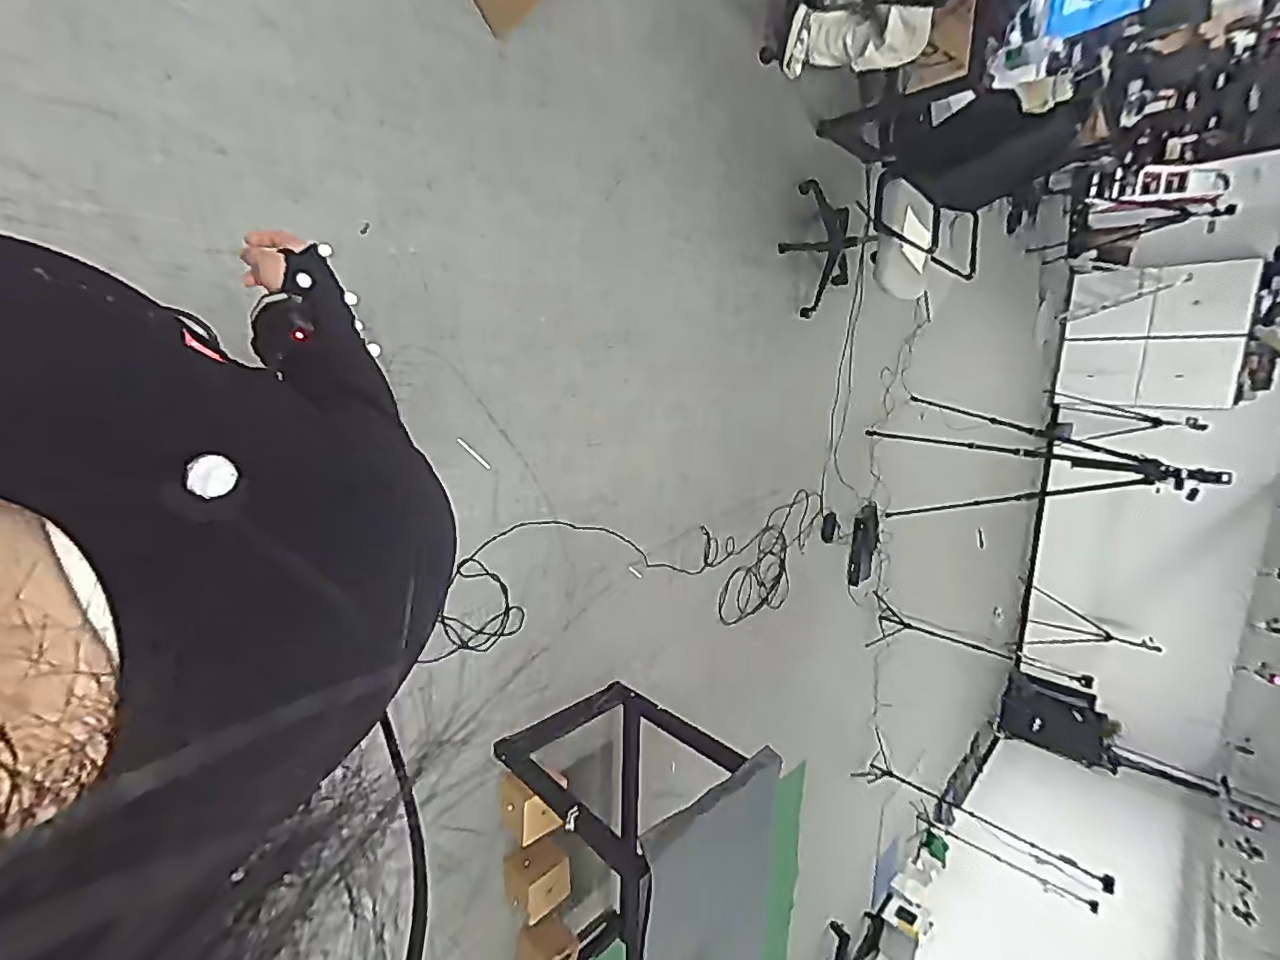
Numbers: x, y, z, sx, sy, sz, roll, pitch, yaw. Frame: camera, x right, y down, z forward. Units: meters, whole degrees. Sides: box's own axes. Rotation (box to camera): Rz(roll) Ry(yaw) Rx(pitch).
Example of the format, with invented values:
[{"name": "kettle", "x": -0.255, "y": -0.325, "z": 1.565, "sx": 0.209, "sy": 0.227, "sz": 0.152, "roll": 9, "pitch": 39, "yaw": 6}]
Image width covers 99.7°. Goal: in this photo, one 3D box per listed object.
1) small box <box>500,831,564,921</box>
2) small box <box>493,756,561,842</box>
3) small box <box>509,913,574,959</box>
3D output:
[{"name": "small box", "x": -0.397, "y": 1.427, "z": 1.965, "sx": 0.179, "sy": 0.176, "sz": 0.168, "roll": -13, "pitch": 107, "yaw": -44}, {"name": "small box", "x": -0.401, "y": 1.115, "z": 1.902, "sx": 0.179, "sy": 0.176, "sz": 0.168, "roll": -3, "pitch": 100, "yaw": -46}, {"name": "small box", "x": -0.379, "y": 1.804, "z": 2.057, "sx": 0.168, "sy": 0.176, "sz": 0.179, "roll": 9, "pitch": 93, "yaw": -46}]
